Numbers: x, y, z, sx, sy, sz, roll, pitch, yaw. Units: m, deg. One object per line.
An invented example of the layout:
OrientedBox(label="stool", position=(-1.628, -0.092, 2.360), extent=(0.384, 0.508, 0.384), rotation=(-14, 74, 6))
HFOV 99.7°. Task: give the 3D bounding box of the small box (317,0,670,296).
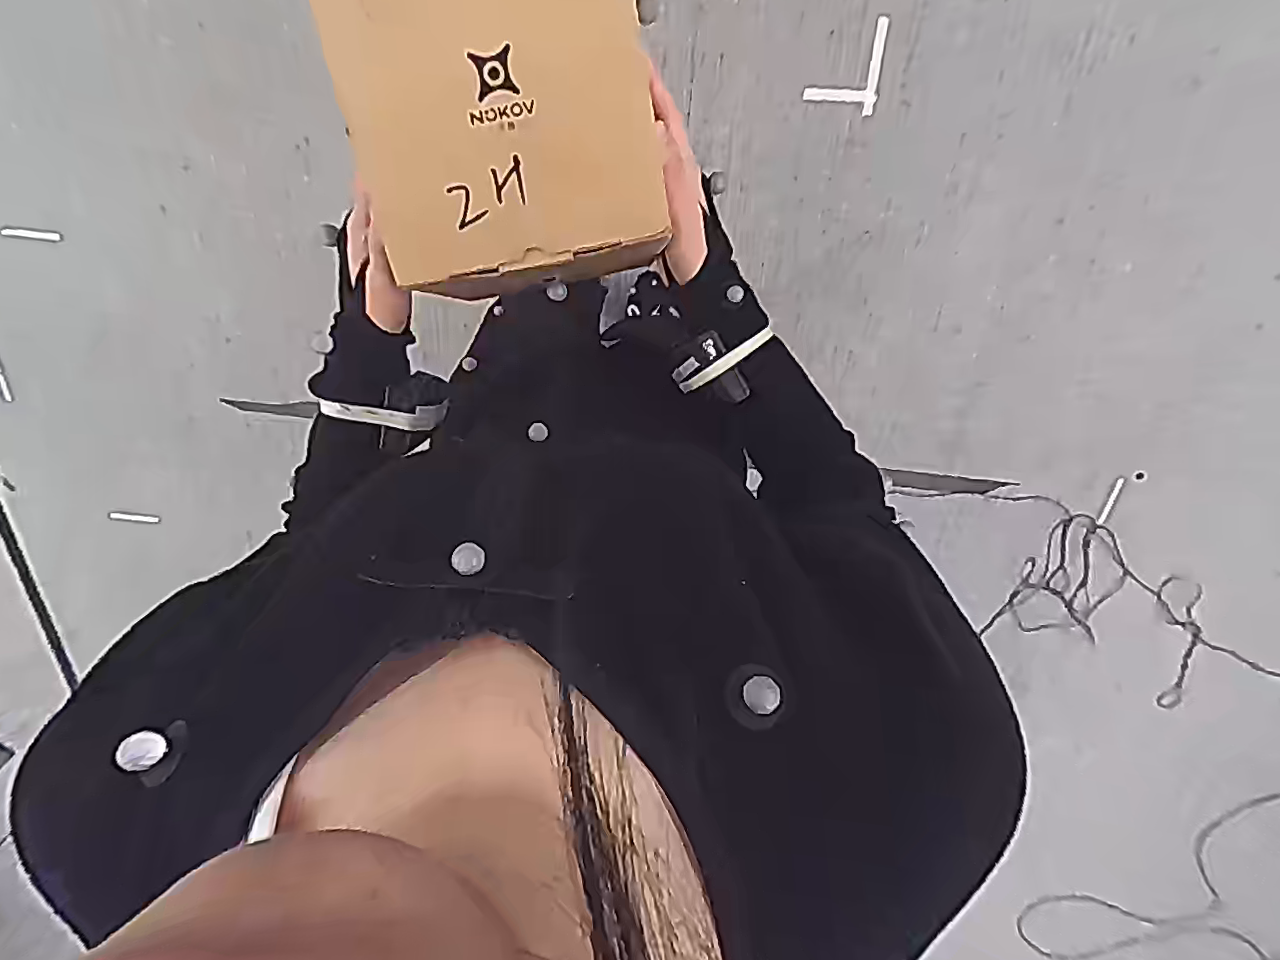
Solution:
OrientedBox(label="small box", position=(-0.081, -0.233, 0.366), extent=(0.168, 0.176, 0.179), rotation=(-11, 106, 0))

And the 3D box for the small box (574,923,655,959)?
OrientedBox(label="small box", position=(-0.060, 1.054, 1.109), extent=(0.168, 0.176, 0.179), rotation=(7, 113, 0))
